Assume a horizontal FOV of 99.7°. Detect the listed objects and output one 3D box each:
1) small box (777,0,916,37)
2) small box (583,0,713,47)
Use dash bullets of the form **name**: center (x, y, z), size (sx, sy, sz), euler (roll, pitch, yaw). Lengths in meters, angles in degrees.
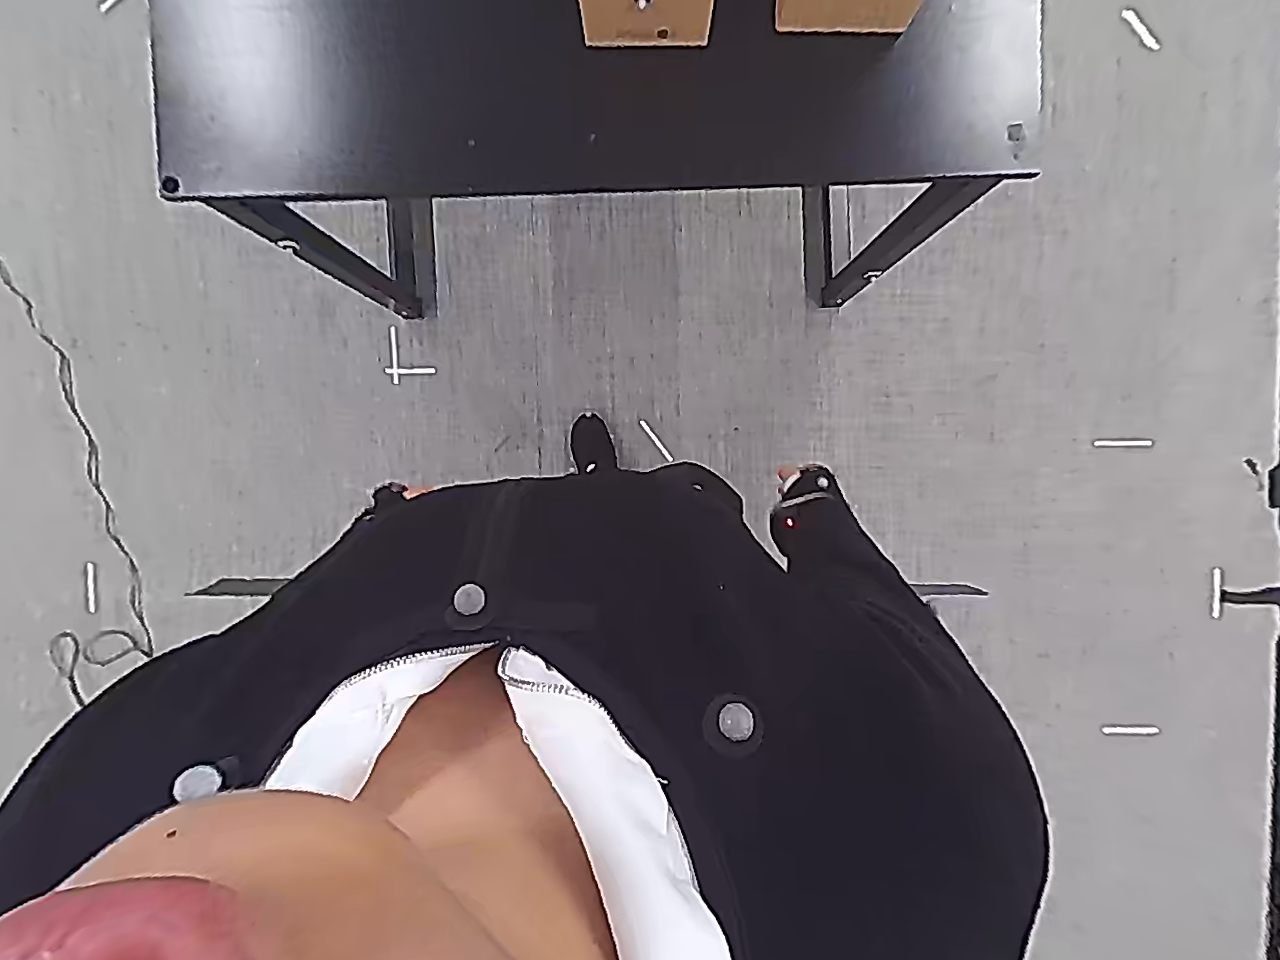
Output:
- **small box**: center (0.271, -0.685, 0.656), size (0.179, 0.176, 0.168), euler (1, 92, 0)
- **small box**: center (0.011, -0.673, 0.659), size (0.168, 0.176, 0.179), euler (1, 92, 0)
